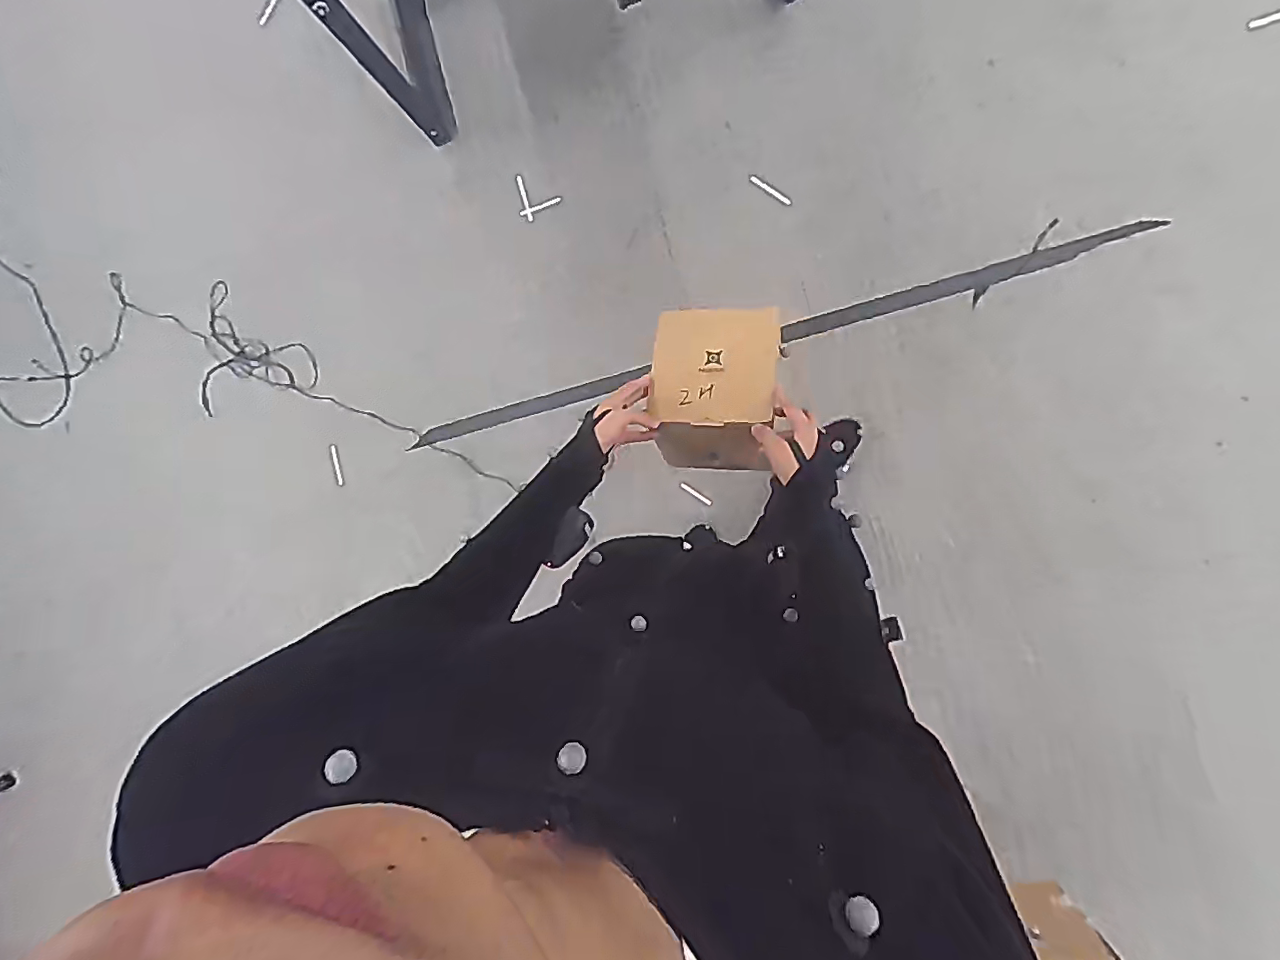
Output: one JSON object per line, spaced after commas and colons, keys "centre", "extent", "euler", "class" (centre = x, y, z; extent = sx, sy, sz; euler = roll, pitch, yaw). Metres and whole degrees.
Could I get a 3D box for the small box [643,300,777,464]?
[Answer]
{"centre": [0.110, -0.136, 0.788], "extent": [0.168, 0.176, 0.179], "euler": [2, 72, 16], "class": "small box"}
